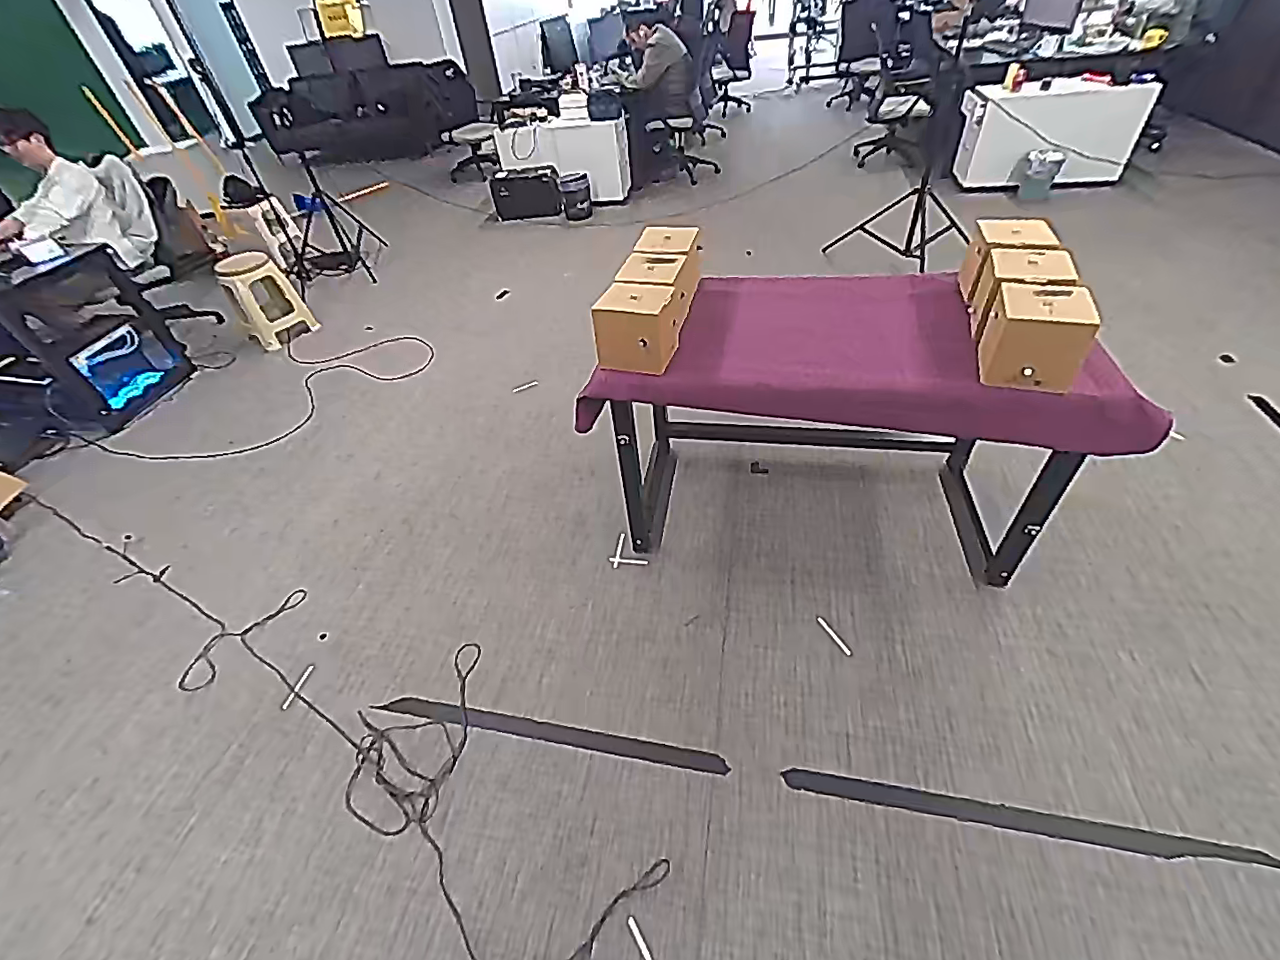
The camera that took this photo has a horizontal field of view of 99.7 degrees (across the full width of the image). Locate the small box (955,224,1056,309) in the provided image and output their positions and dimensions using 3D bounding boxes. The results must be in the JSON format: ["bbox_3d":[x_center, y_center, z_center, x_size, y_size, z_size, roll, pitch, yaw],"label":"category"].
[{"bbox_3d":[0.980,-0.579,1.469,0.168,0.176,0.179,7,45,14],"label":"small box"}]

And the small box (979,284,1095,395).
[{"bbox_3d":[0.874,-0.315,1.208,0.168,0.176,0.179,11,50,22],"label":"small box"}]

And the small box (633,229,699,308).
[{"bbox_3d":[0.083,-0.648,1.654,0.168,0.176,0.179,7,47,15],"label":"small box"}]
